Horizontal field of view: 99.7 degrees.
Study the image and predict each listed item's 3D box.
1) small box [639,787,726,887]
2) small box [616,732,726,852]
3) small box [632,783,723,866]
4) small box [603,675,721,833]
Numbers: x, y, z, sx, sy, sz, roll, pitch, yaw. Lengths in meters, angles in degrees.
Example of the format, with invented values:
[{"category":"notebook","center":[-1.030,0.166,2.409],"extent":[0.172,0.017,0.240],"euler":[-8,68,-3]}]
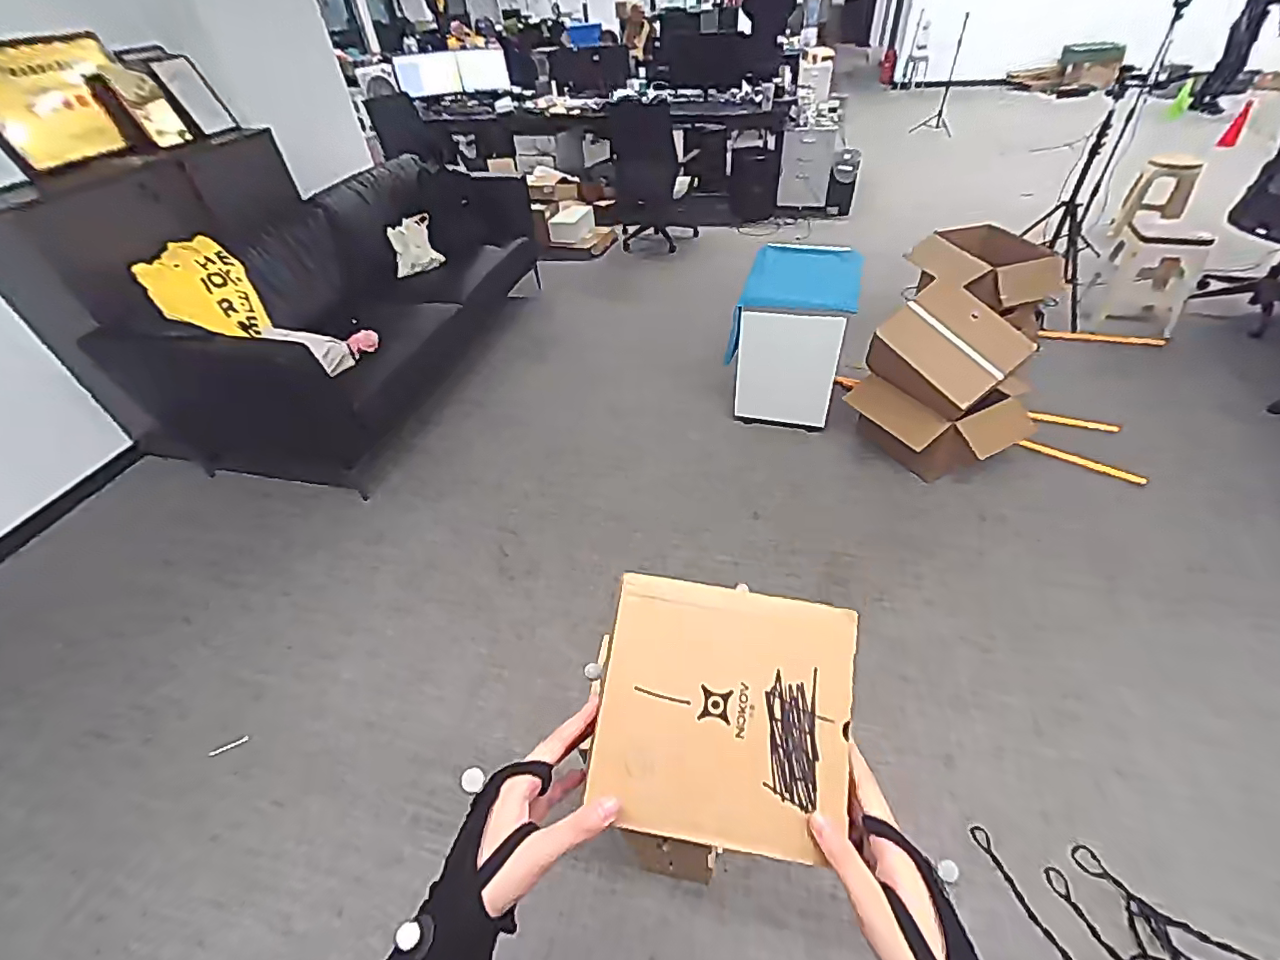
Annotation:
[{"category":"small box","center":[0.101,0.807,1.246],"extent":[0.179,0.176,0.168],"euler":[6,44,12]},{"category":"small box","center":[0.065,0.576,1.018],"extent":[0.179,0.176,0.168],"euler":[5,44,11]},{"category":"small box","center":[0.077,0.685,1.139],"extent":[0.179,0.176,0.168],"euler":[6,45,13]},{"category":"small box","center":[0.045,0.458,0.907],"extent":[0.168,0.176,0.179],"euler":[4,44,12]}]
